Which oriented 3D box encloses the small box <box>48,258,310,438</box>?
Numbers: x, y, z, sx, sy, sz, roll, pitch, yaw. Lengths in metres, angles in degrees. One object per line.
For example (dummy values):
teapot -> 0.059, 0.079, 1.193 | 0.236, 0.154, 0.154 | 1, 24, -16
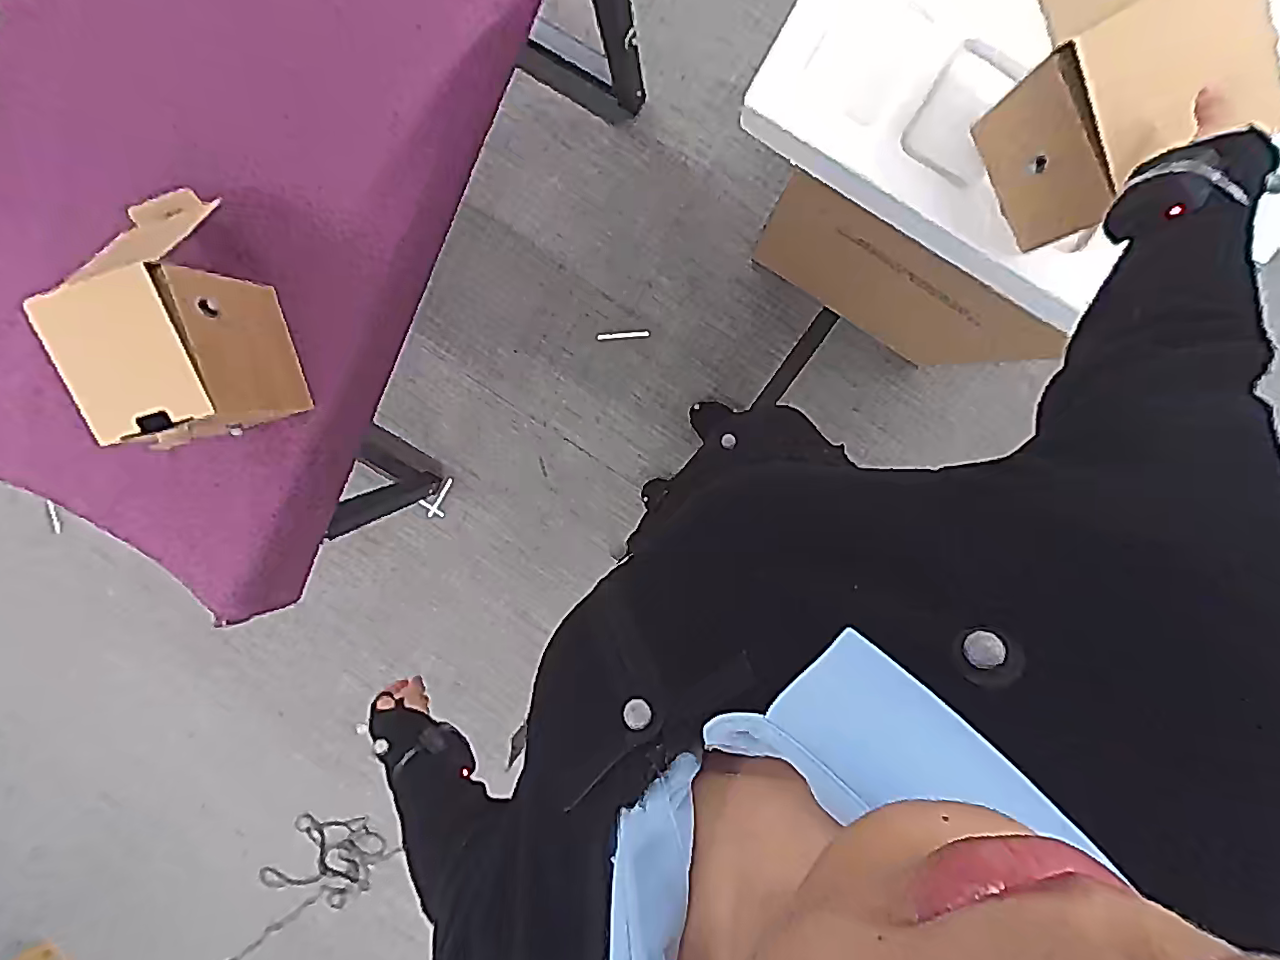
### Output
small box -> -0.576, -0.161, 0.701 | 0.168, 0.176, 0.179 | -13, 98, 9
